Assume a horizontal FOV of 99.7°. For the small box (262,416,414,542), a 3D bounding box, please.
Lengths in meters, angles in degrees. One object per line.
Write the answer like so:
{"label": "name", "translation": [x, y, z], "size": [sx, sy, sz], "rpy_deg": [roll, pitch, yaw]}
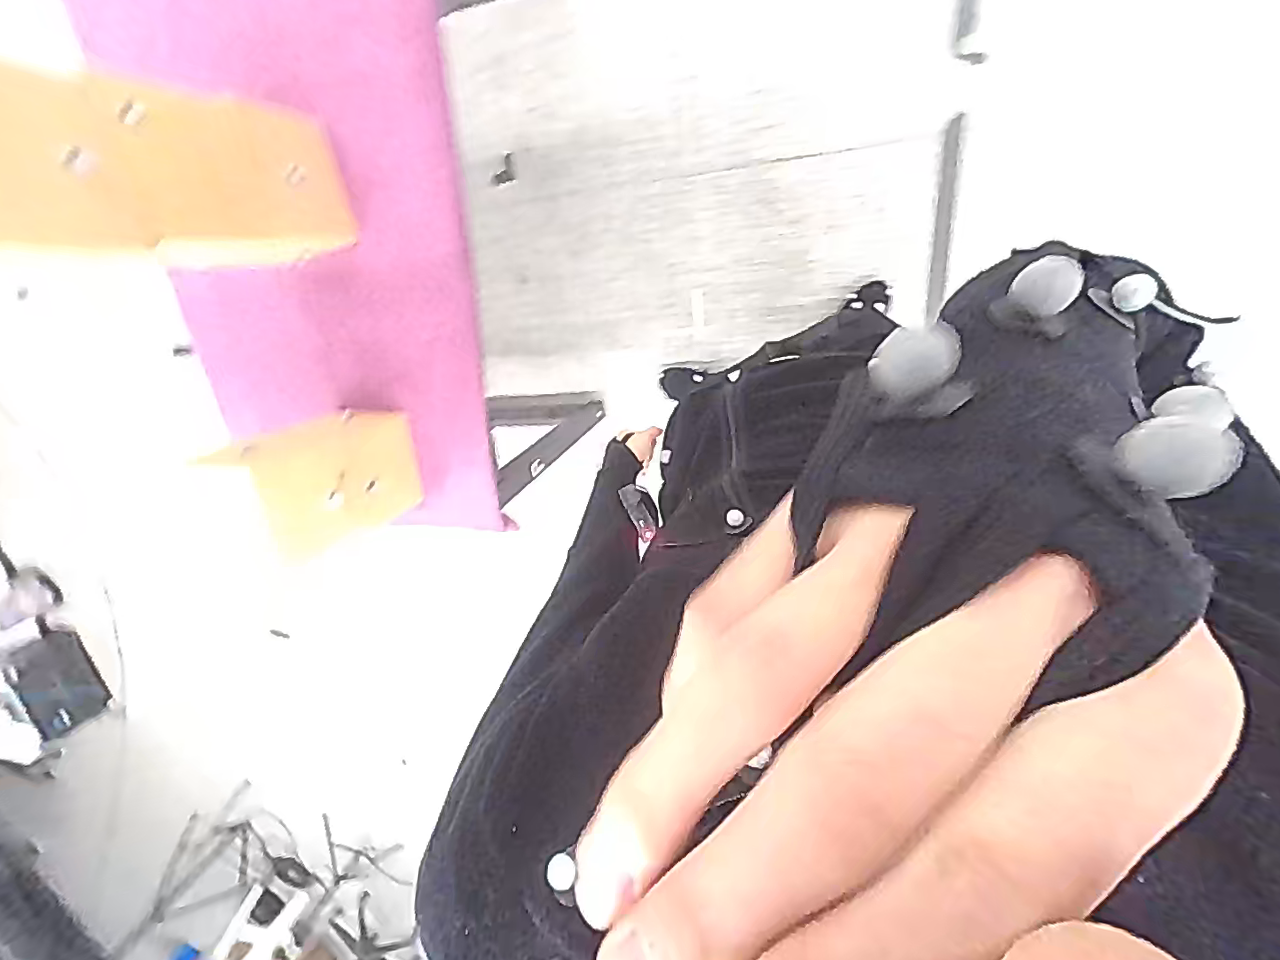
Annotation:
{"label": "small box", "translation": [-0.538, -0.008, 0.982], "size": [0.168, 0.176, 0.179], "rpy_deg": [2, 111, 15]}

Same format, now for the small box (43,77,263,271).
{"label": "small box", "translation": [-0.627, -0.364, 0.680], "size": [0.168, 0.176, 0.179], "rpy_deg": [-3, 111, 16]}
